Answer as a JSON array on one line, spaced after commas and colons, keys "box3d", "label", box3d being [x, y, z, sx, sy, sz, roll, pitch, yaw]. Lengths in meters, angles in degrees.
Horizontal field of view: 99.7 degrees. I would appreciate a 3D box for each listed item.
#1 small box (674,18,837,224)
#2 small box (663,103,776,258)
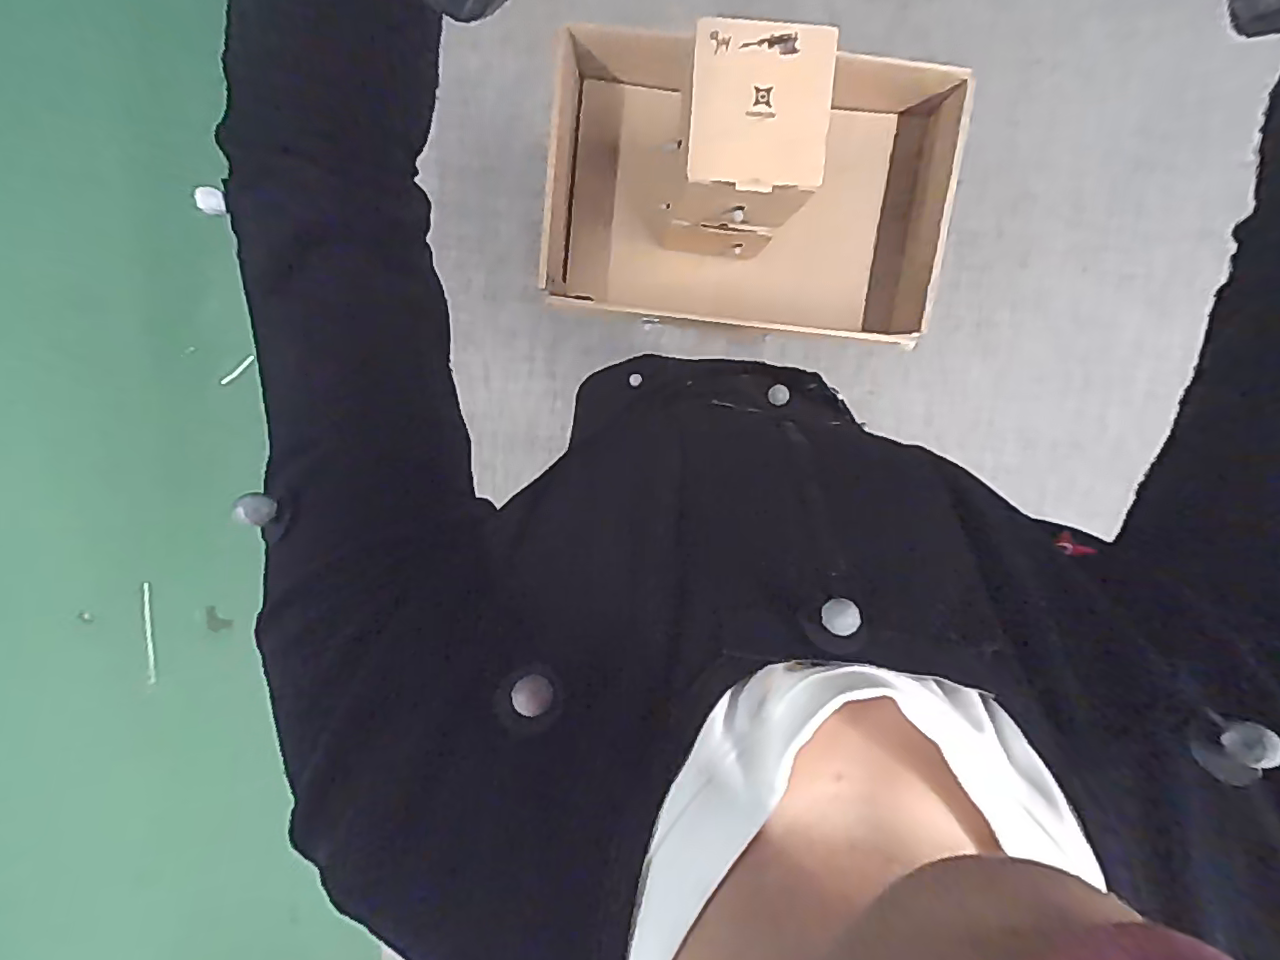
[{"box3d": [0.137, -0.451, 0.710, 0.168, 0.176, 0.179, 3, 101, -2], "label": "small box"}, {"box3d": [0.131, -0.473, 0.873, 0.168, 0.176, 0.179, 6, 99, -3], "label": "small box"}]
